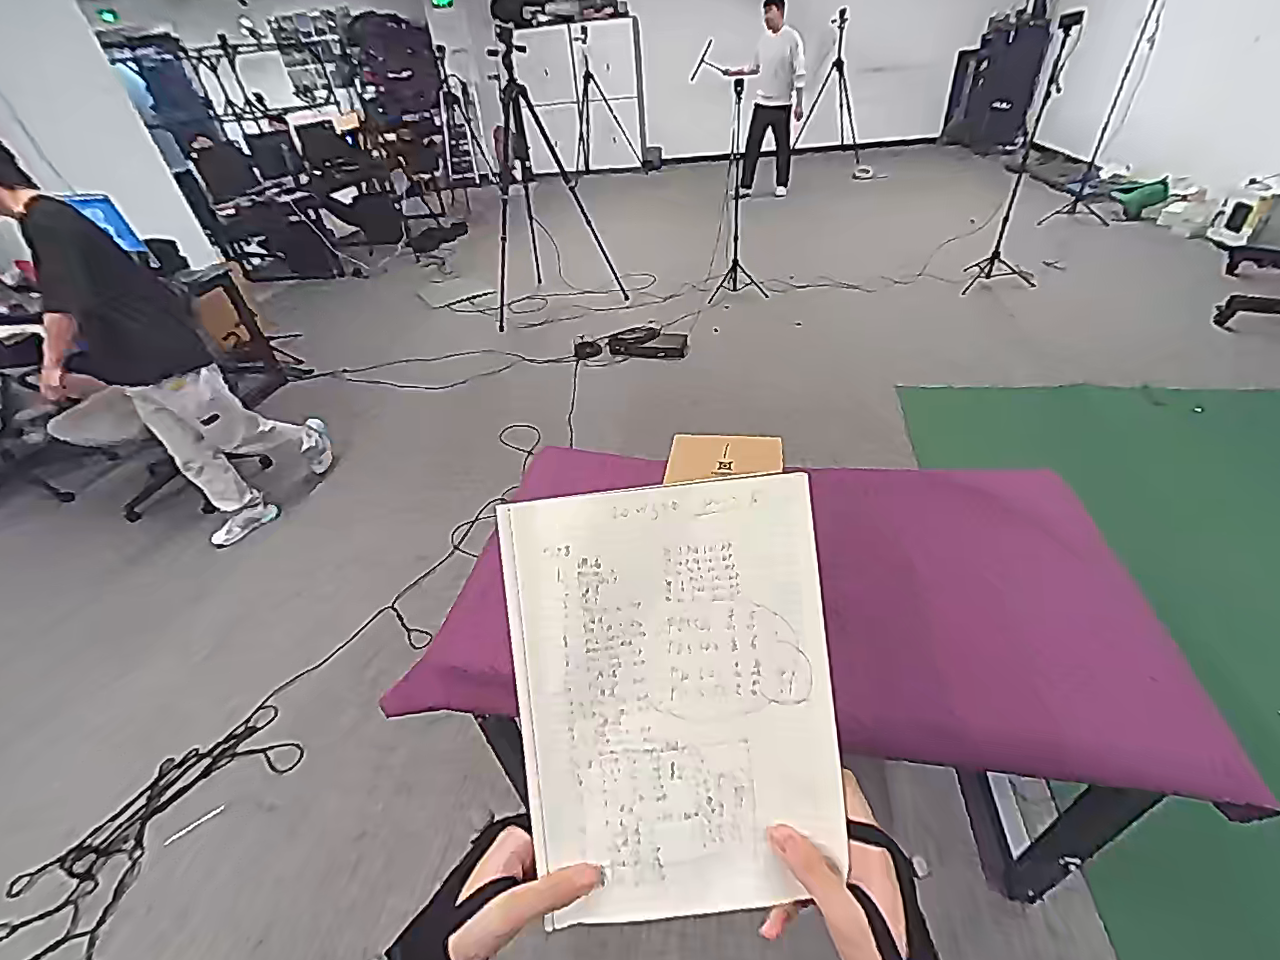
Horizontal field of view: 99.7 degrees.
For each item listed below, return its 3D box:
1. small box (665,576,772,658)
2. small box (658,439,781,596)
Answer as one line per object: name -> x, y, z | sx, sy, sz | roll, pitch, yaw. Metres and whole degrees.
small box -> 0.142, 0.182, 0.930 | 0.168, 0.176, 0.179 | 3, 40, 11
small box -> 0.127, 0.056, 0.823 | 0.168, 0.176, 0.179 | 3, 38, 12
